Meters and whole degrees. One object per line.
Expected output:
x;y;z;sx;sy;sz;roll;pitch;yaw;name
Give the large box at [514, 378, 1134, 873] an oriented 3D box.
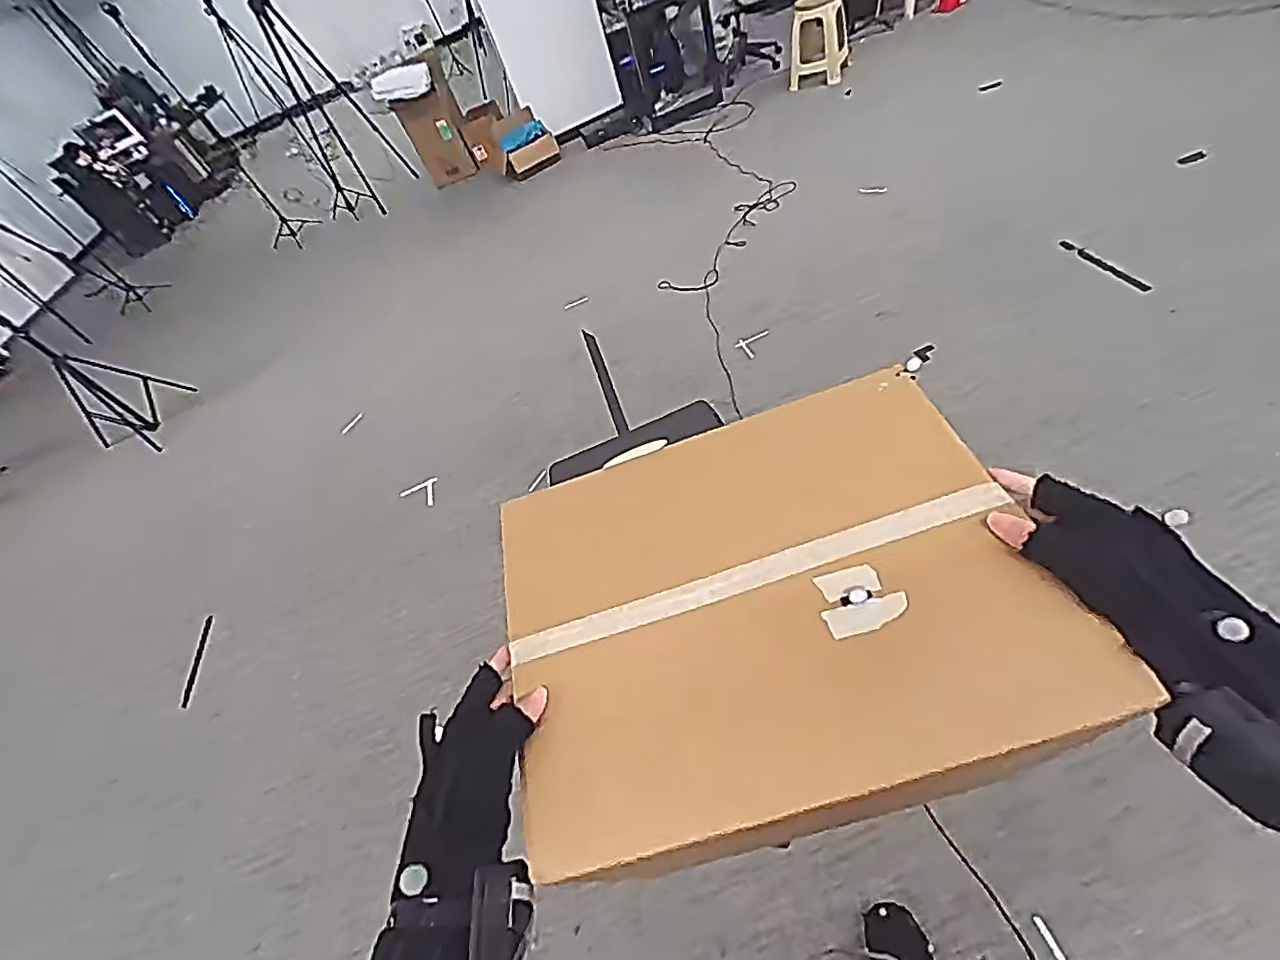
0.128;0.165;0.556;0.408;0.320;0.320;-19;53;4;large box
